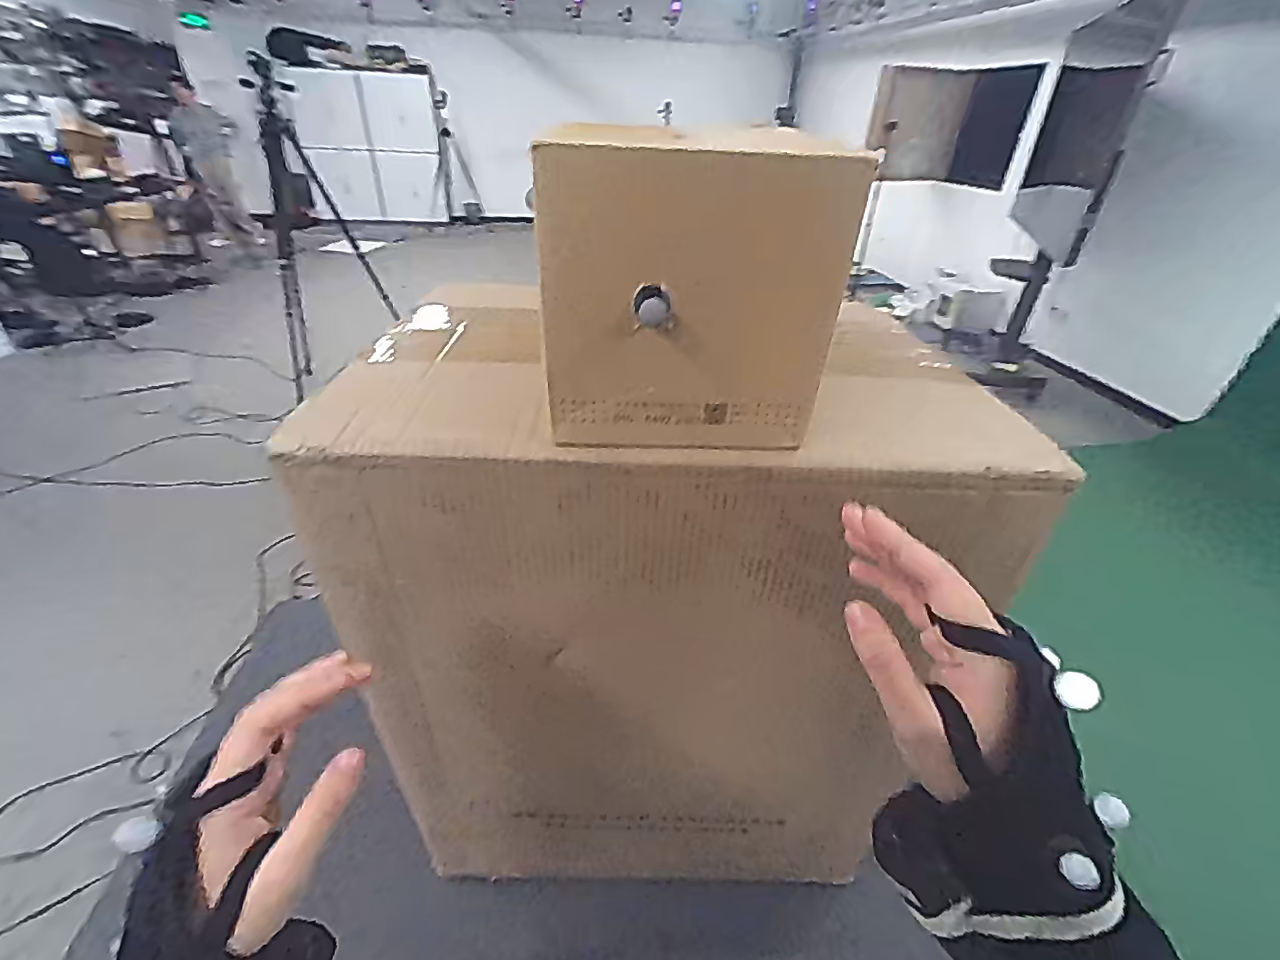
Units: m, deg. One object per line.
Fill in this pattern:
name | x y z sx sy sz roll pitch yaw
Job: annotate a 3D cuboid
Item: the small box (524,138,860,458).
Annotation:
small box | 0.022 -0.126 0.369 0.168 0.176 0.179 1 36 -3
